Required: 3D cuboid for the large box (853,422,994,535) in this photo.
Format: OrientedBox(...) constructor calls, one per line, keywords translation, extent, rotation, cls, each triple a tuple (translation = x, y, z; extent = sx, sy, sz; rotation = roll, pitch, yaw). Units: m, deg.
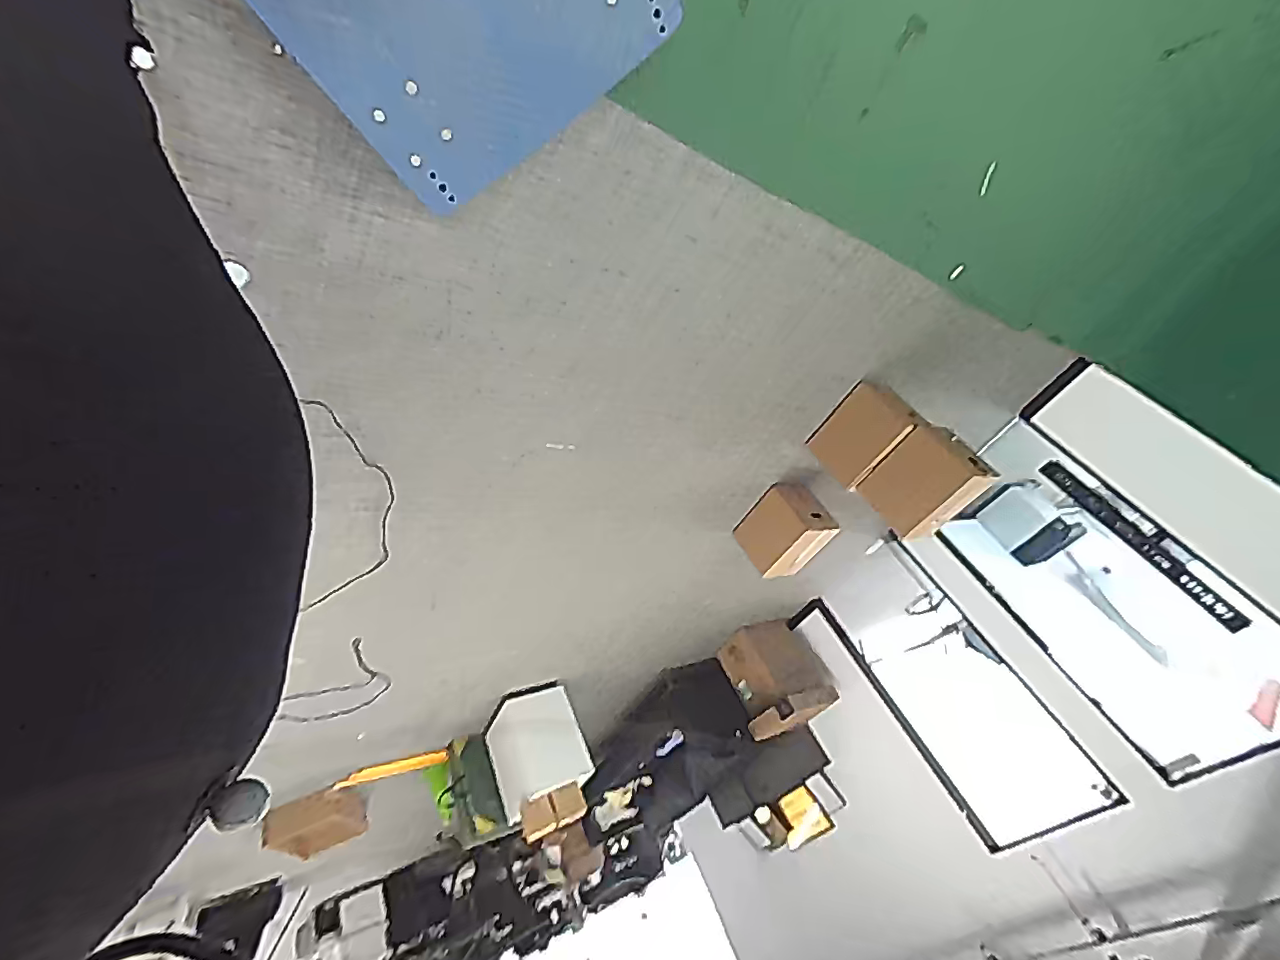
OrientedBox(translation=(1.243, -0.010, 2.396), extent=(0.320, 0.320, 0.408), rotation=(-1, 137, -41), cls="large box")
